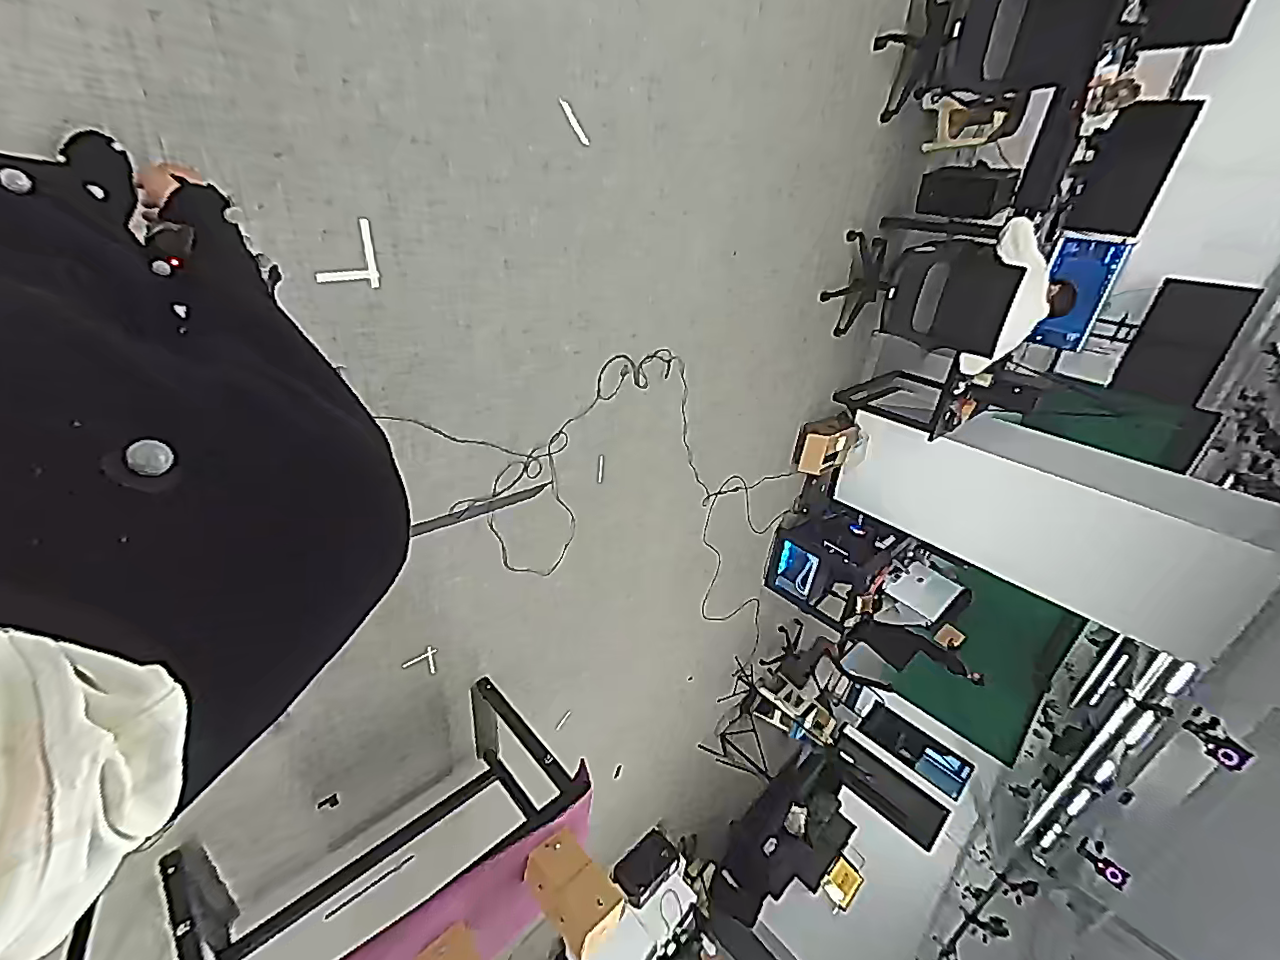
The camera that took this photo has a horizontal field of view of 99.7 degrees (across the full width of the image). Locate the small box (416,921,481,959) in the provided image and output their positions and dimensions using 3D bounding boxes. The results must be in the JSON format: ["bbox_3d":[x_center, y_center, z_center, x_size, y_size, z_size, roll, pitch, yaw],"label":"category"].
[{"bbox_3d":[-0.607,1.571,1.716,0.179,0.176,0.168,-23,131,-38],"label":"small box"}]

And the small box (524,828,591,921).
[{"bbox_3d":[-0.303,1.425,1.965,0.168,0.176,0.179,-10,120,-45],"label":"small box"}]

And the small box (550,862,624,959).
[{"bbox_3d":[-0.184,1.480,1.865,0.179,0.176,0.168,-13,122,-44],"label":"small box"}]
